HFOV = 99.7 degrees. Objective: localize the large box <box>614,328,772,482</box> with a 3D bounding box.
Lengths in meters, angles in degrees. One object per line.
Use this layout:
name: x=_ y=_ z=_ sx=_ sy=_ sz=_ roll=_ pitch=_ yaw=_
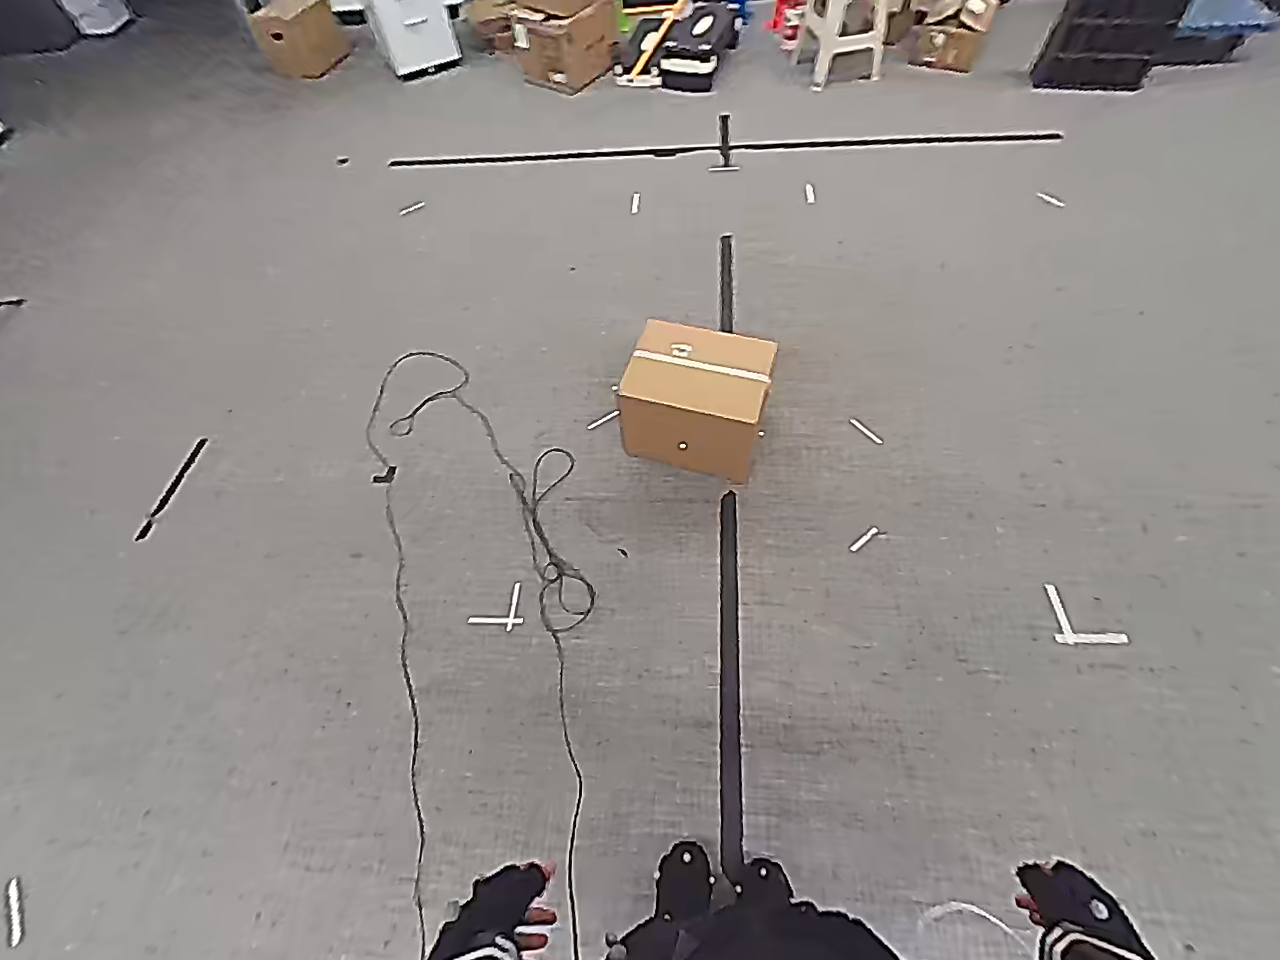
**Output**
large box: x=0.171 y=-0.229 z=1.691 sx=0.408 sy=0.320 sz=0.320 roll=13 pitch=60 yaw=13
